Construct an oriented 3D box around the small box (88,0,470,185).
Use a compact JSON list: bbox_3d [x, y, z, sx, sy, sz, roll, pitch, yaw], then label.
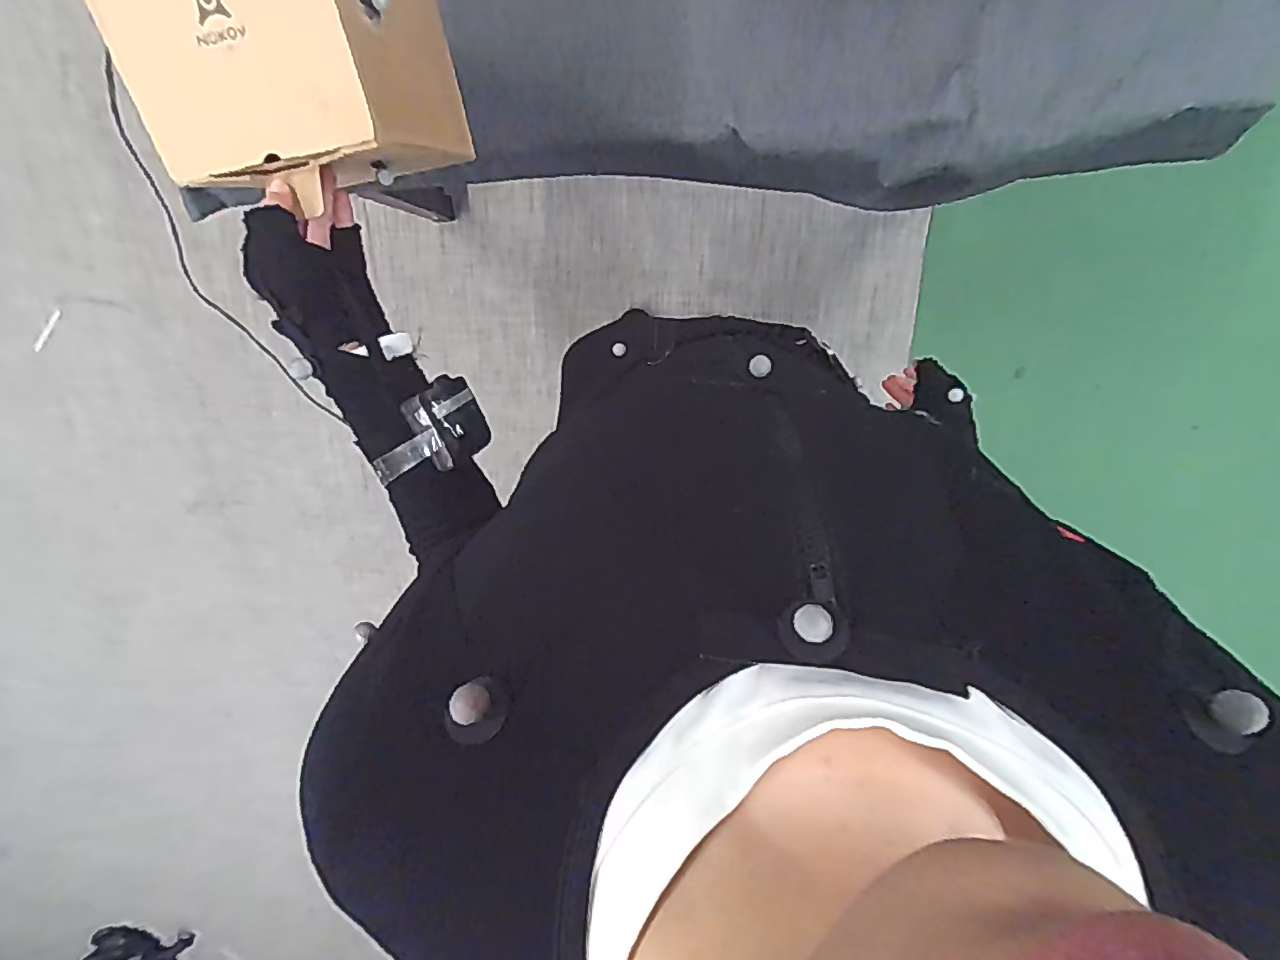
[{"bbox_3d":[-0.249,-0.328,0.398,0.168,0.176,0.179,-5,116,10],"label":"small box"}]
